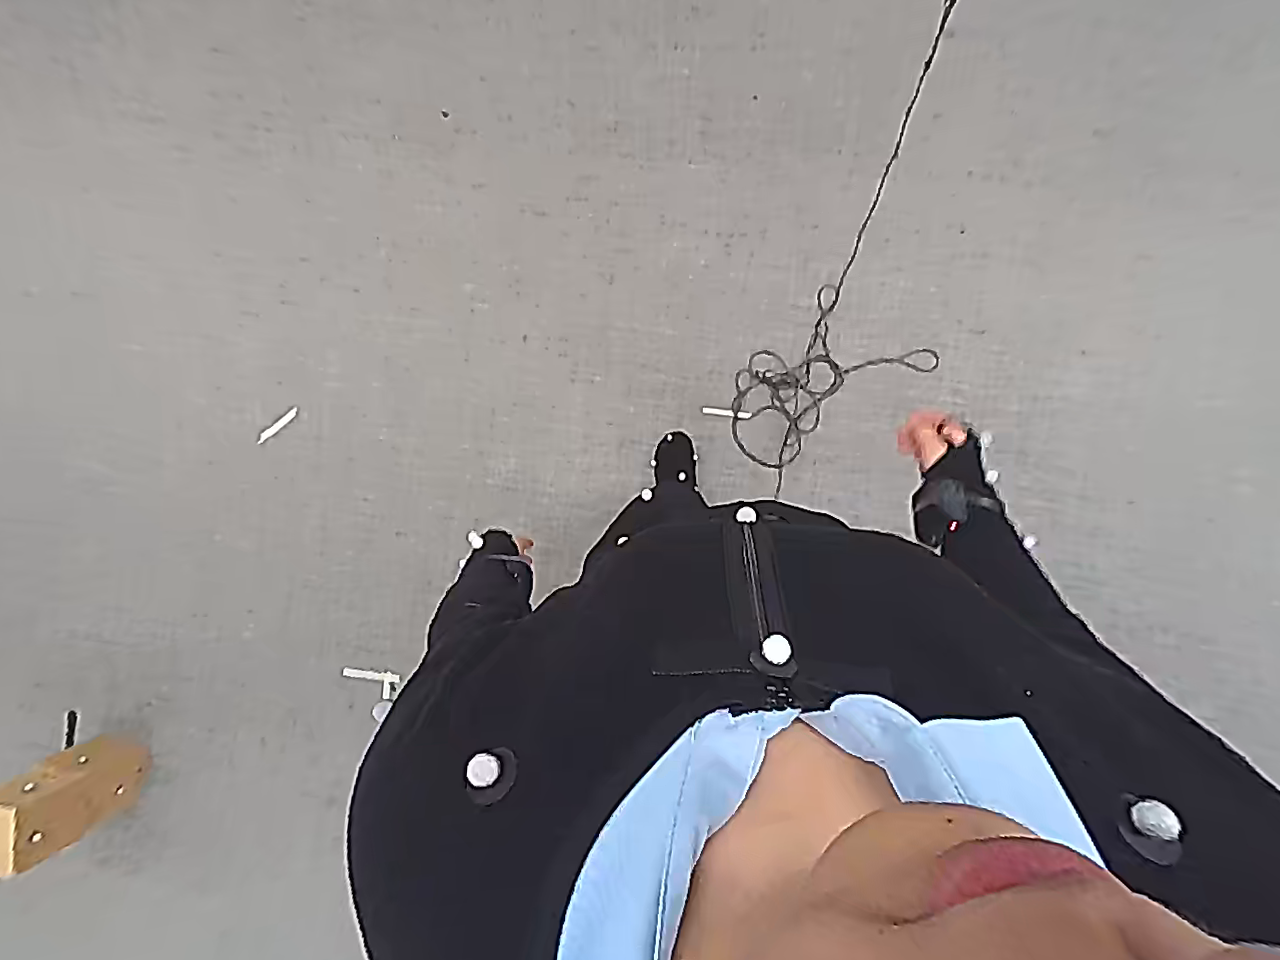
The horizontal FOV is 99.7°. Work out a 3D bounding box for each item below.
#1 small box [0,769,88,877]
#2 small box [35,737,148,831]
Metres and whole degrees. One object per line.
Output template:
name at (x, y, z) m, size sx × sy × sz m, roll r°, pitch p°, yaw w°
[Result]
small box at (-1.593, 0.879, 1.401) m, size 0.168 × 0.176 × 0.179 m, roll 2°, pitch 91°, yaw 5°
small box at (-1.588, 0.873, 1.564) m, size 0.179 × 0.176 × 0.168 m, roll 10°, pitch 90°, yaw 5°
